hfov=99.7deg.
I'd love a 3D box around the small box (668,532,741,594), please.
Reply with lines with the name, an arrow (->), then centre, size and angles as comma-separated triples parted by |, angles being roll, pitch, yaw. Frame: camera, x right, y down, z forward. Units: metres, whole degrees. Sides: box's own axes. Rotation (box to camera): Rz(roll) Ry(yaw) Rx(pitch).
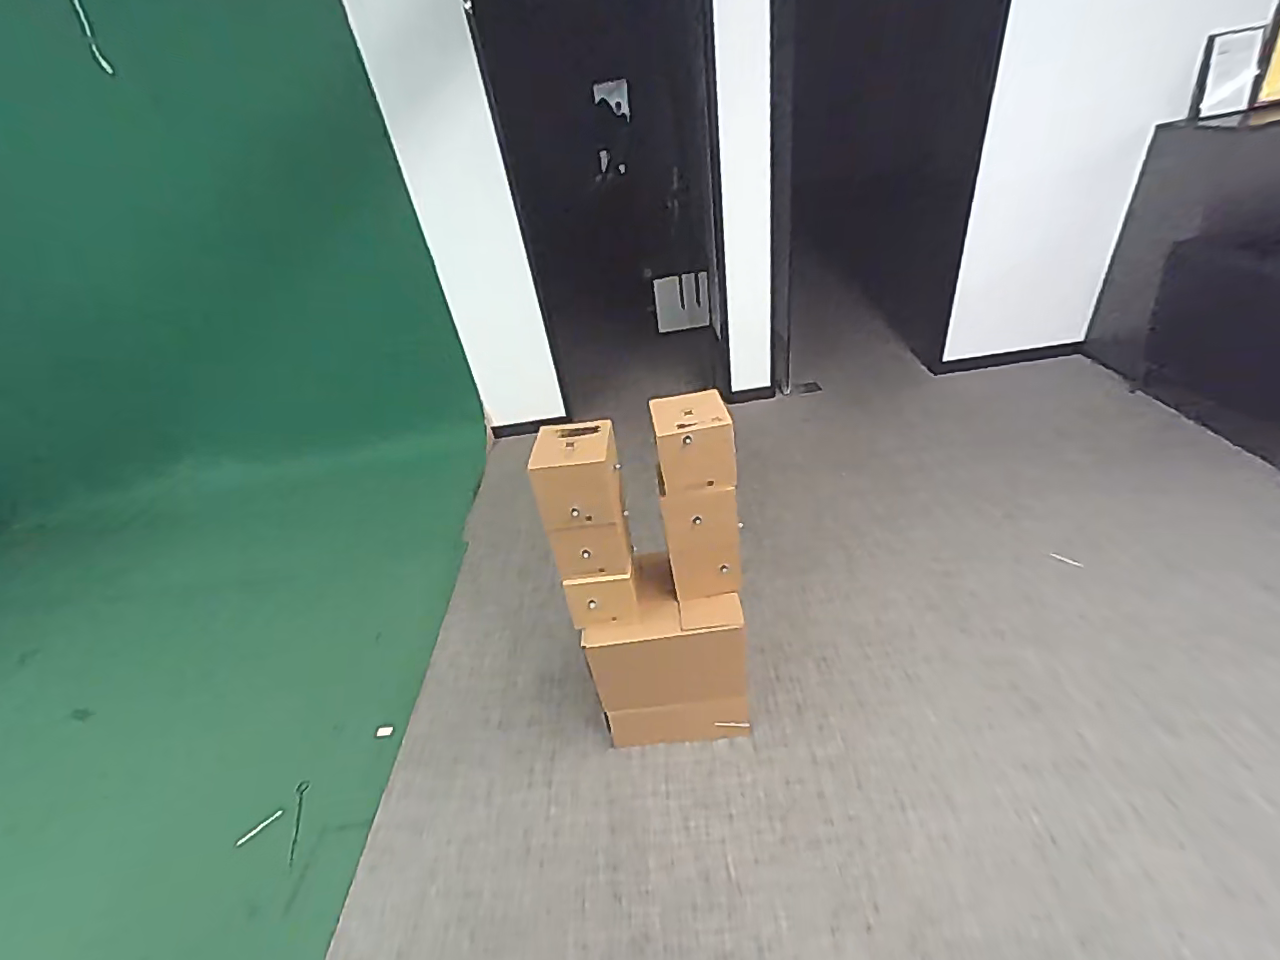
small box -> 0.167, 0.179, 1.430 | 0.179, 0.176, 0.168 | -9, 35, 3

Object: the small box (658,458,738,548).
small box -> 0.145, 0.047, 1.336 | 0.179, 0.176, 0.168 | -9, 35, 4

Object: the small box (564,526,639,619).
small box -> -0.093, 0.245, 1.398 | 0.168, 0.176, 0.179 | -6, 35, 3

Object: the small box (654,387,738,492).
small box -> 0.127, -0.094, 1.252 | 0.168, 0.176, 0.179 | -10, 34, 2
